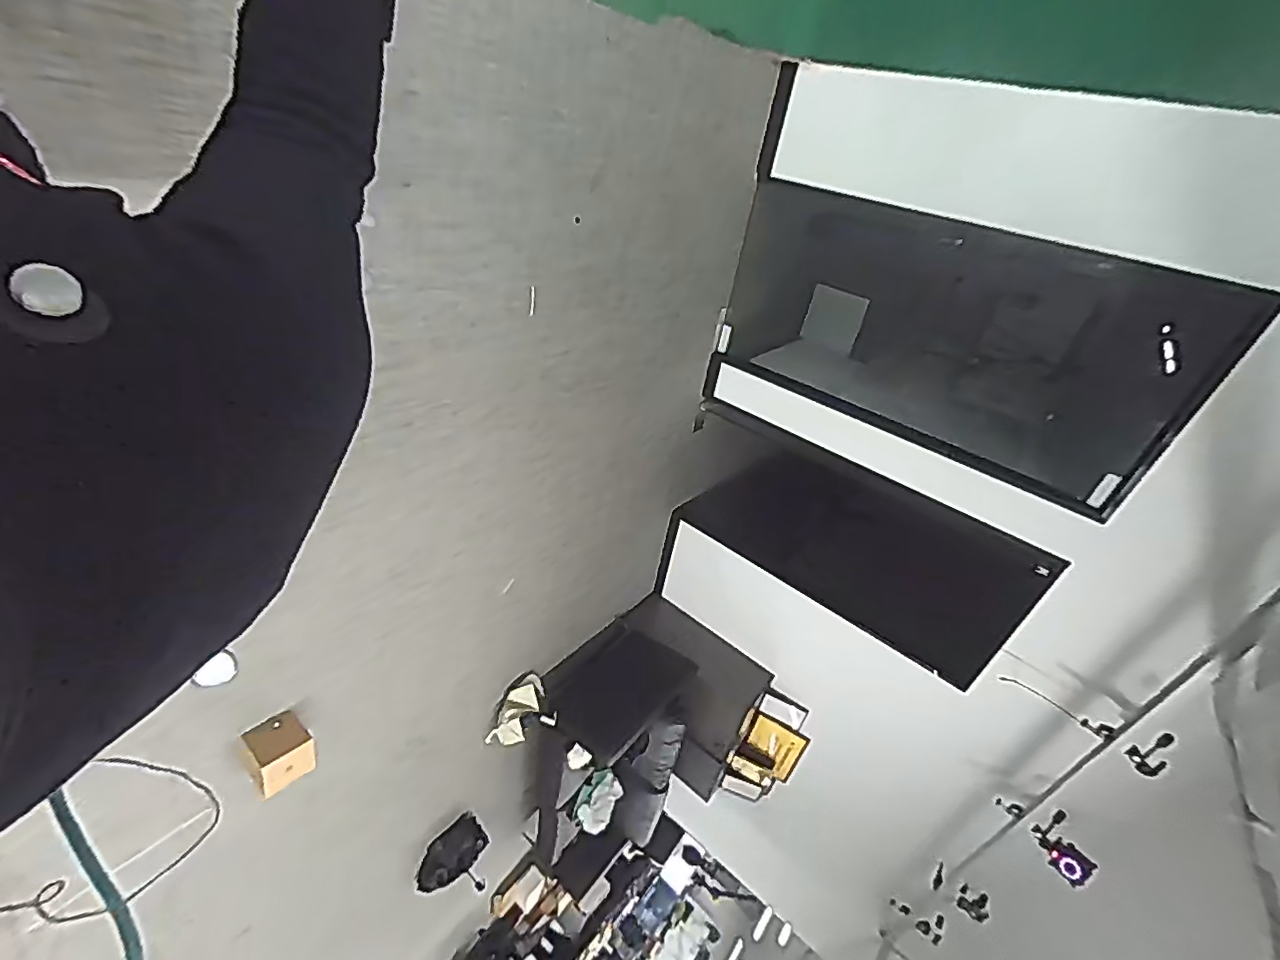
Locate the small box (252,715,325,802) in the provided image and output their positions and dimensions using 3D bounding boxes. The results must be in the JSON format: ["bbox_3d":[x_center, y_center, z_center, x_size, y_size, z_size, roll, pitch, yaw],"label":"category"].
[{"bbox_3d":[-1.247,0.981,1.919,0.168,0.176,0.179,-23,136,-49],"label":"small box"}]
